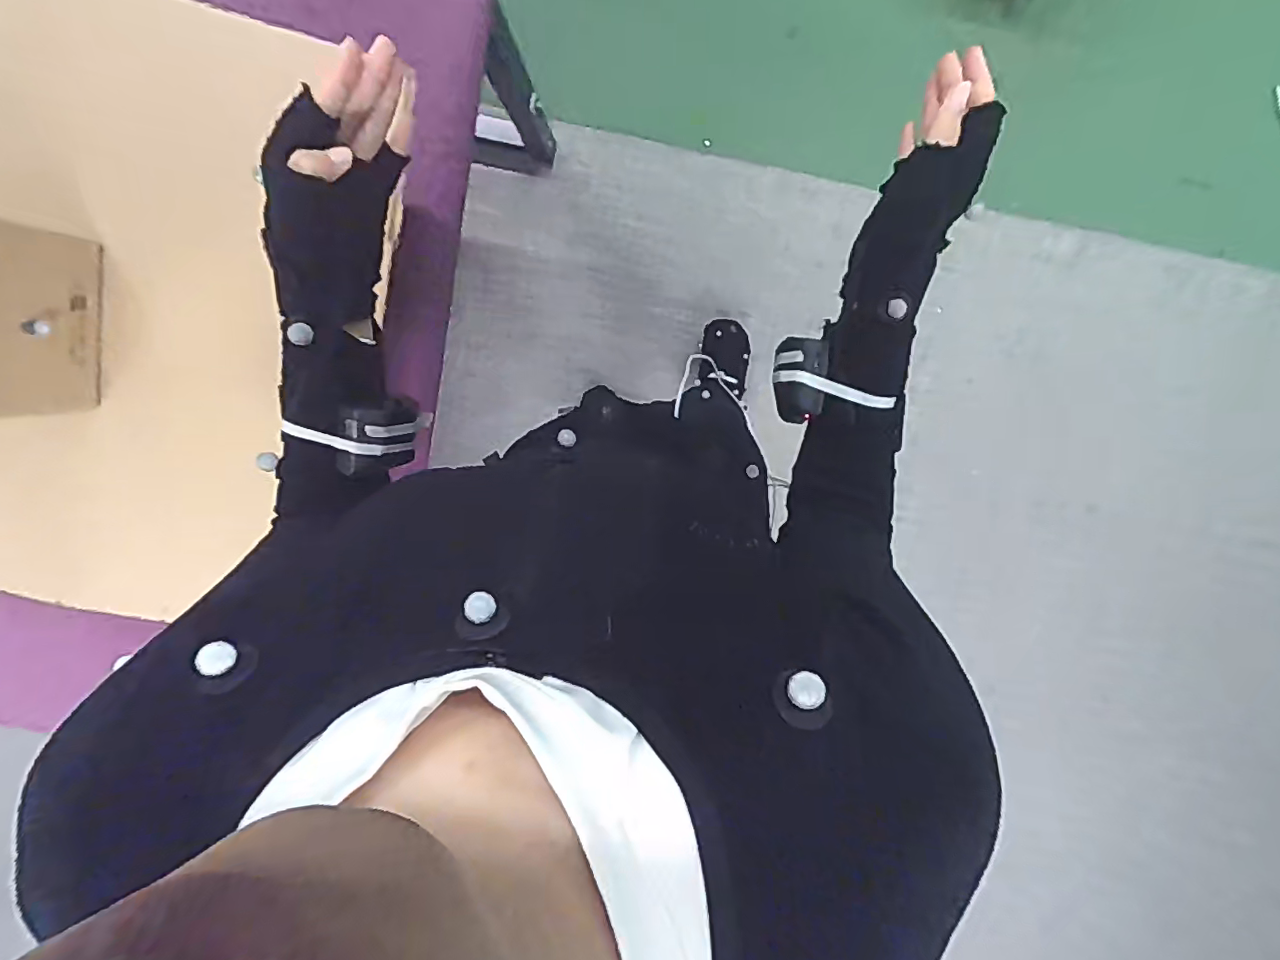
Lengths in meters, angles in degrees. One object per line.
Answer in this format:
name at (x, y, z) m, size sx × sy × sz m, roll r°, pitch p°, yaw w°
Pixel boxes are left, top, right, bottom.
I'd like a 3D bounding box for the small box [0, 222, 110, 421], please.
small box at (-0.609, -0.143, 0.448) m, size 0.179 × 0.176 × 0.168 m, roll 14°, pitch 102°, yaw -1°
